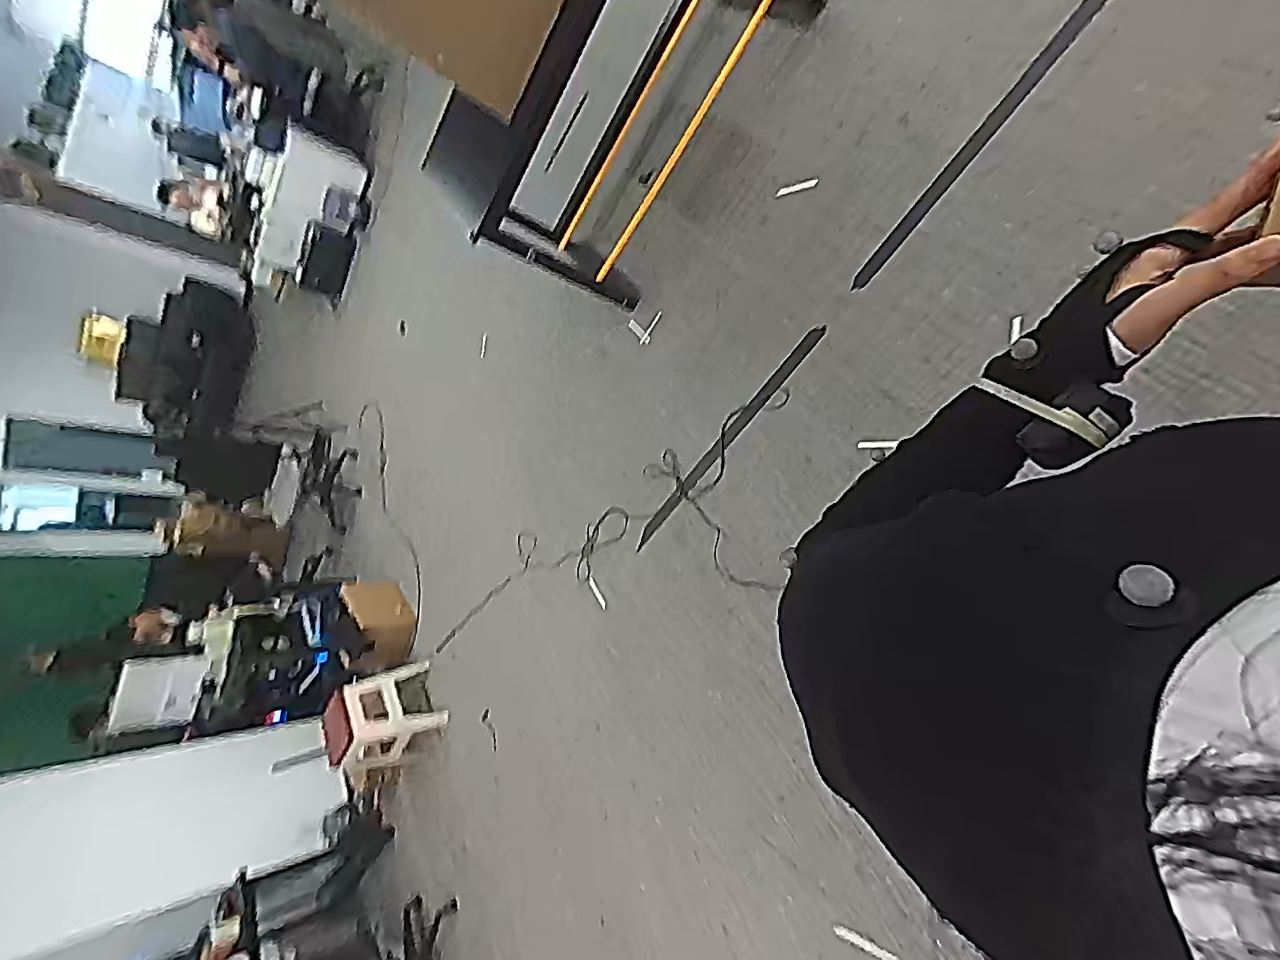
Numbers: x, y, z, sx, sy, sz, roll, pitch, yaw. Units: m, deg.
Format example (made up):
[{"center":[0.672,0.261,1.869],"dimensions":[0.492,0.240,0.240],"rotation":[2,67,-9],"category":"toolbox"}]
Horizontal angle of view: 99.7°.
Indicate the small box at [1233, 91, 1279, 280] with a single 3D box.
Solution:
[{"center":[0.463,-0.210,0.292],"dimensions":[0.168,0.176,0.179],"rotation":[17,112,42],"category":"small box"}]
